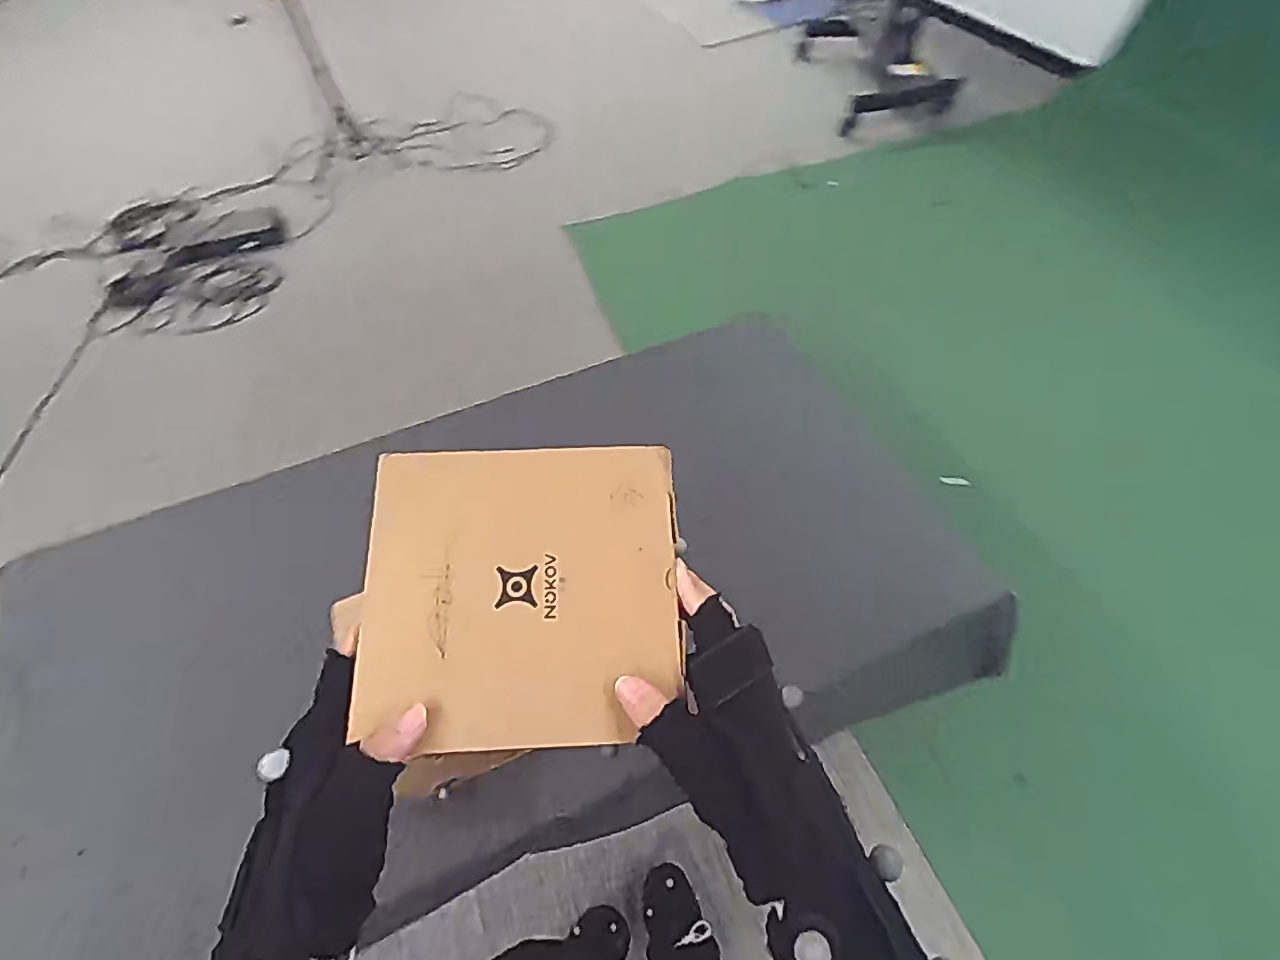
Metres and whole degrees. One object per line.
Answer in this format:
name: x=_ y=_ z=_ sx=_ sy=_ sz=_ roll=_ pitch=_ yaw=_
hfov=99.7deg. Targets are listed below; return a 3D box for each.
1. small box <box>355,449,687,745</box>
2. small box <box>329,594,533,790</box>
small box: x=-0.067 y=0.086 z=0.385 sx=0.179 sy=0.176 sz=0.168 roll=-2 pitch=69 yaw=-2
small box: x=-0.200 y=0.209 z=0.586 sx=0.168 sy=0.176 sz=0.179 roll=-24 pitch=60 yaw=-13
